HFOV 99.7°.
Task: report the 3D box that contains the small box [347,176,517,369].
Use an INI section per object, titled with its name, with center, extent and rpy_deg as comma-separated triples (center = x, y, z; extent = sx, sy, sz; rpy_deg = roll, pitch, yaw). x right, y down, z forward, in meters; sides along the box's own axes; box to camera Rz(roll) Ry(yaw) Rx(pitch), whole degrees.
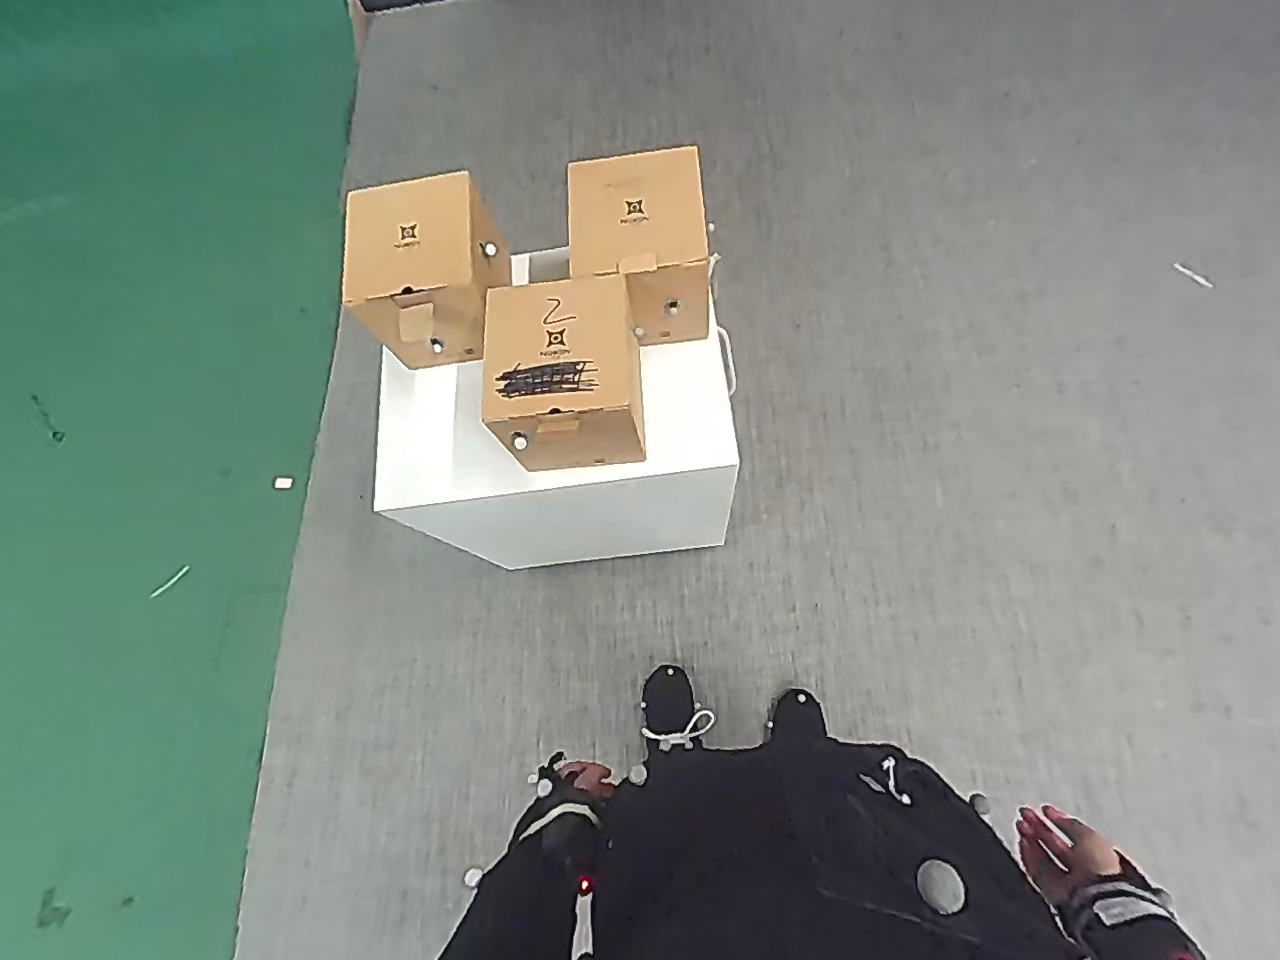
[small box]
center = -0.277, -0.280, 0.755
extent = 0.168, 0.176, 0.179
rpy_deg = -8, 73, 4
